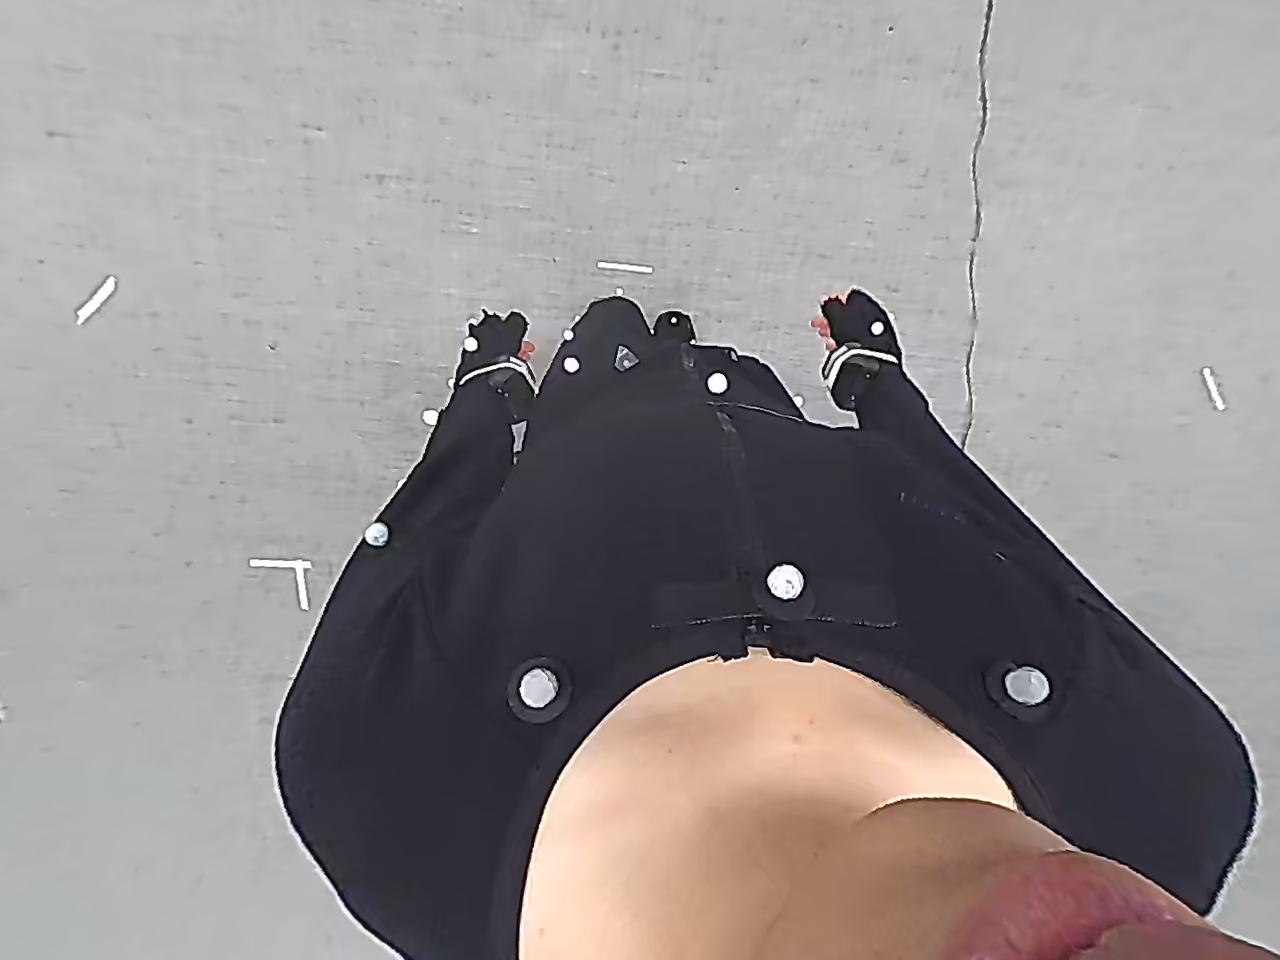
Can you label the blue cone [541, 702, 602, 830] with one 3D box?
[{"bbox_3d":[-0.215,0.827,1.552,0.192,0.380,0.193,2,105,-1],"label":"blue cone"}]
